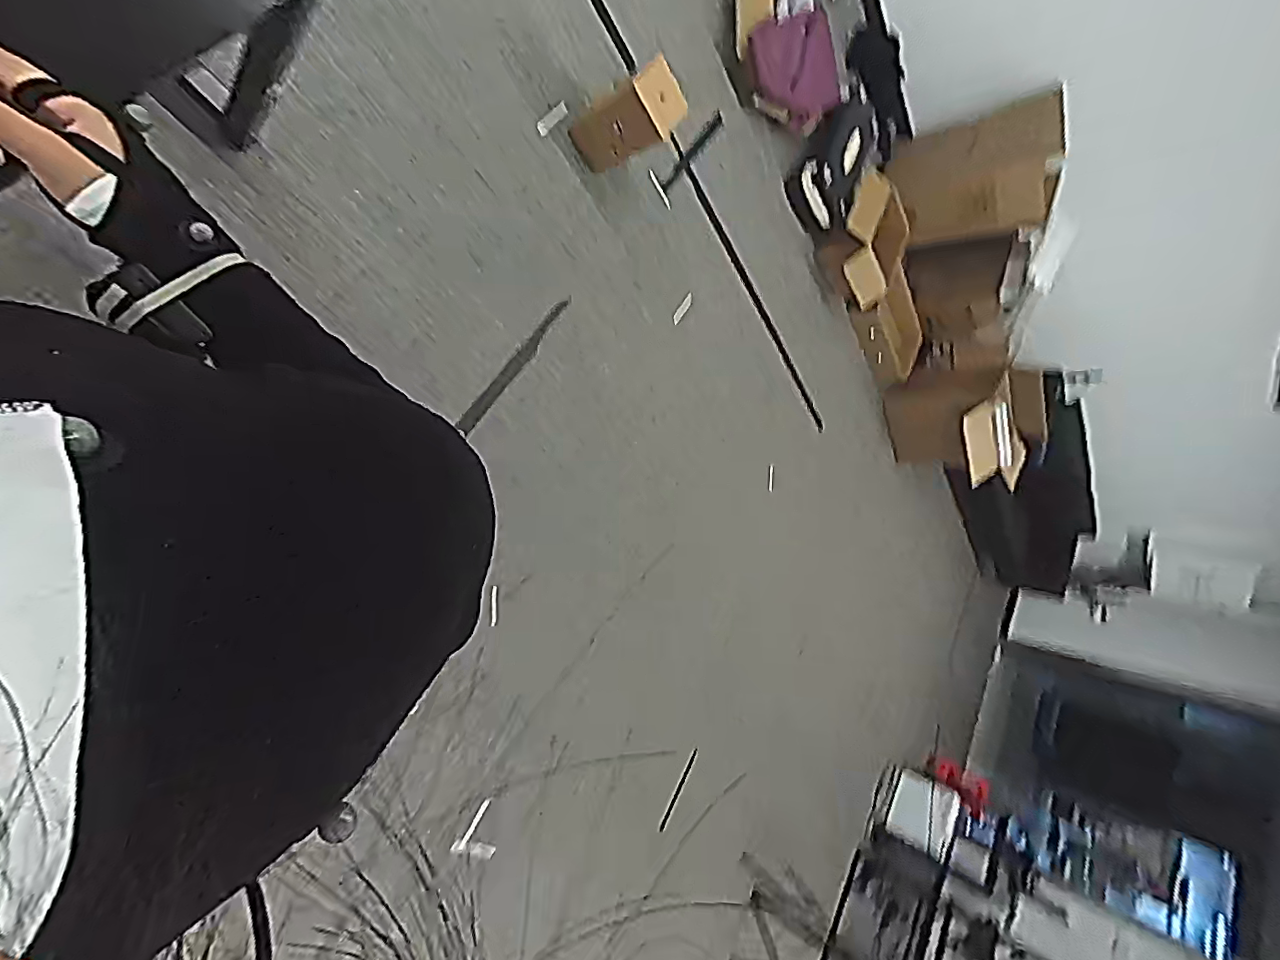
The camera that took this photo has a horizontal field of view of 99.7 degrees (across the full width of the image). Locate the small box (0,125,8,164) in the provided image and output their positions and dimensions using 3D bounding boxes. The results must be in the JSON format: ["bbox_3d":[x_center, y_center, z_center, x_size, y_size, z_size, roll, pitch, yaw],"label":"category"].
[{"bbox_3d":[-0.496,-0.274,0.285,0.168,0.176,0.179,-23,121,-37],"label":"small box"}]

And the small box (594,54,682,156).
[{"bbox_3d":[-0.009,-1.134,1.645,0.168,0.176,0.179,46,65,-35],"label":"small box"}]

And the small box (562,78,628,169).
[{"bbox_3d":[-0.118,-1.150,1.766,0.179,0.176,0.168,46,64,-37],"label":"small box"}]
